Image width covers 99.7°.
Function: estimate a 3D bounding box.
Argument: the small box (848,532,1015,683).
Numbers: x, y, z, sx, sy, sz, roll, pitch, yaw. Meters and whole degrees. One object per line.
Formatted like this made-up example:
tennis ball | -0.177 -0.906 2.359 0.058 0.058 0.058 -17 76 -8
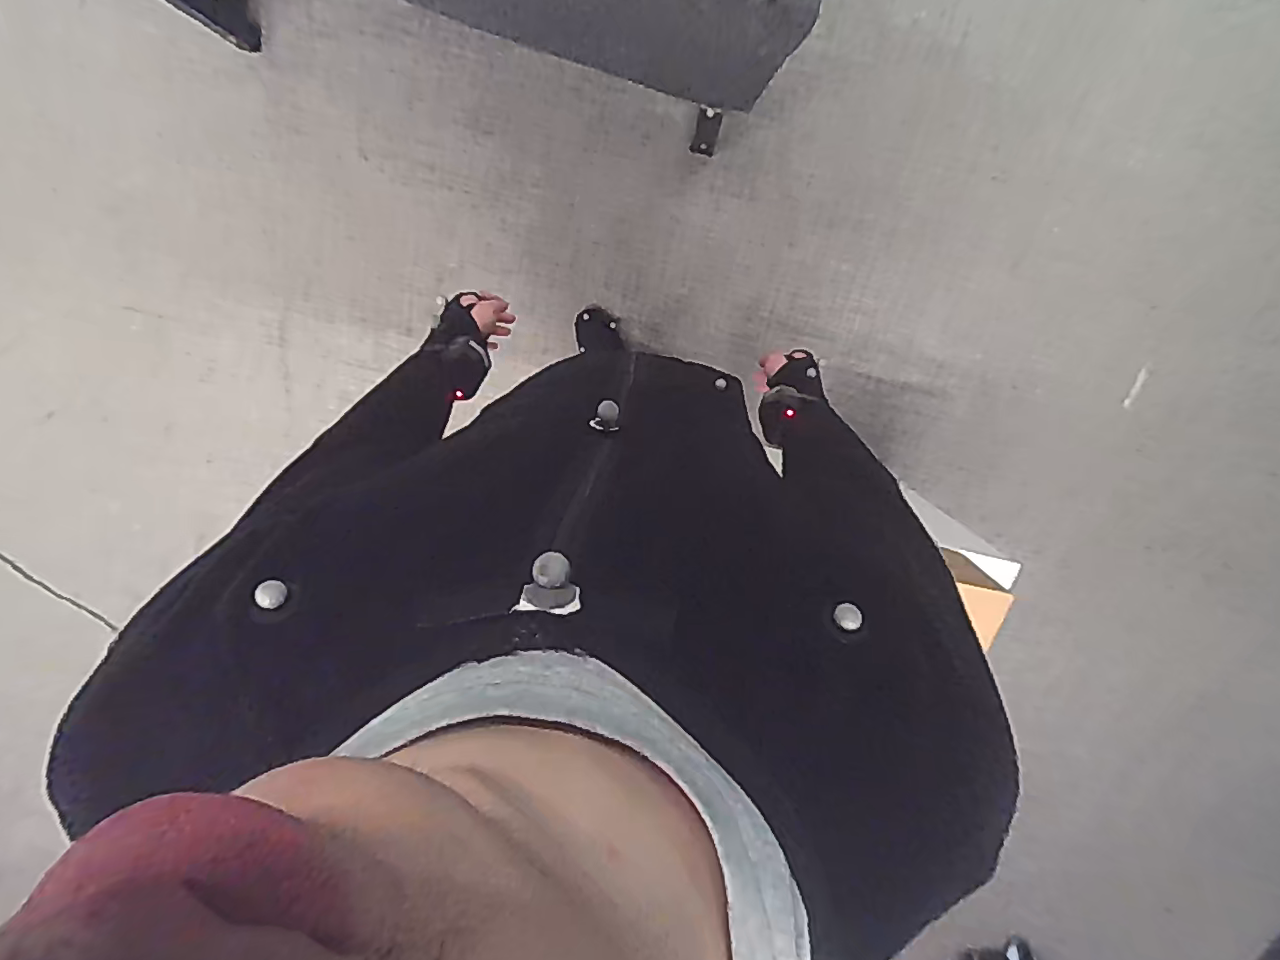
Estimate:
small box | 0.479 0.210 0.922 0.168 0.176 0.179 10 105 -5
